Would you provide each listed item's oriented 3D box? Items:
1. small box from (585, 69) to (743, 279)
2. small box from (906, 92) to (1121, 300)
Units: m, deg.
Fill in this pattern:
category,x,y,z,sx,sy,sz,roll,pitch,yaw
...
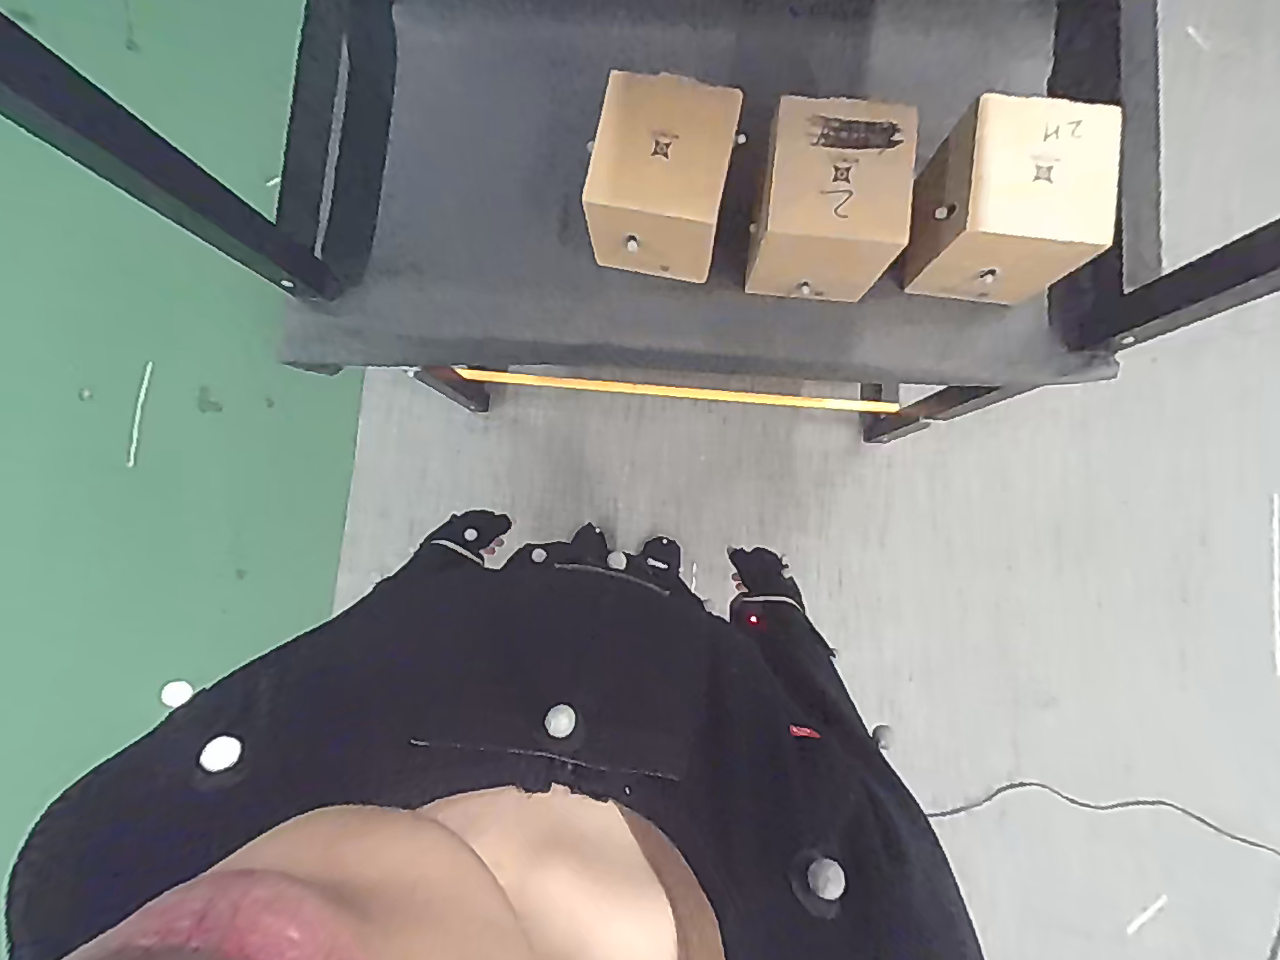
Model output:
category,x,y,z,sx,sy,sz,roll,pitch,yaw
small box,0.033,-0.398,0.732,0.168,0.176,0.179,11,85,3
small box,0.472,-0.357,0.709,0.168,0.176,0.179,8,85,3
